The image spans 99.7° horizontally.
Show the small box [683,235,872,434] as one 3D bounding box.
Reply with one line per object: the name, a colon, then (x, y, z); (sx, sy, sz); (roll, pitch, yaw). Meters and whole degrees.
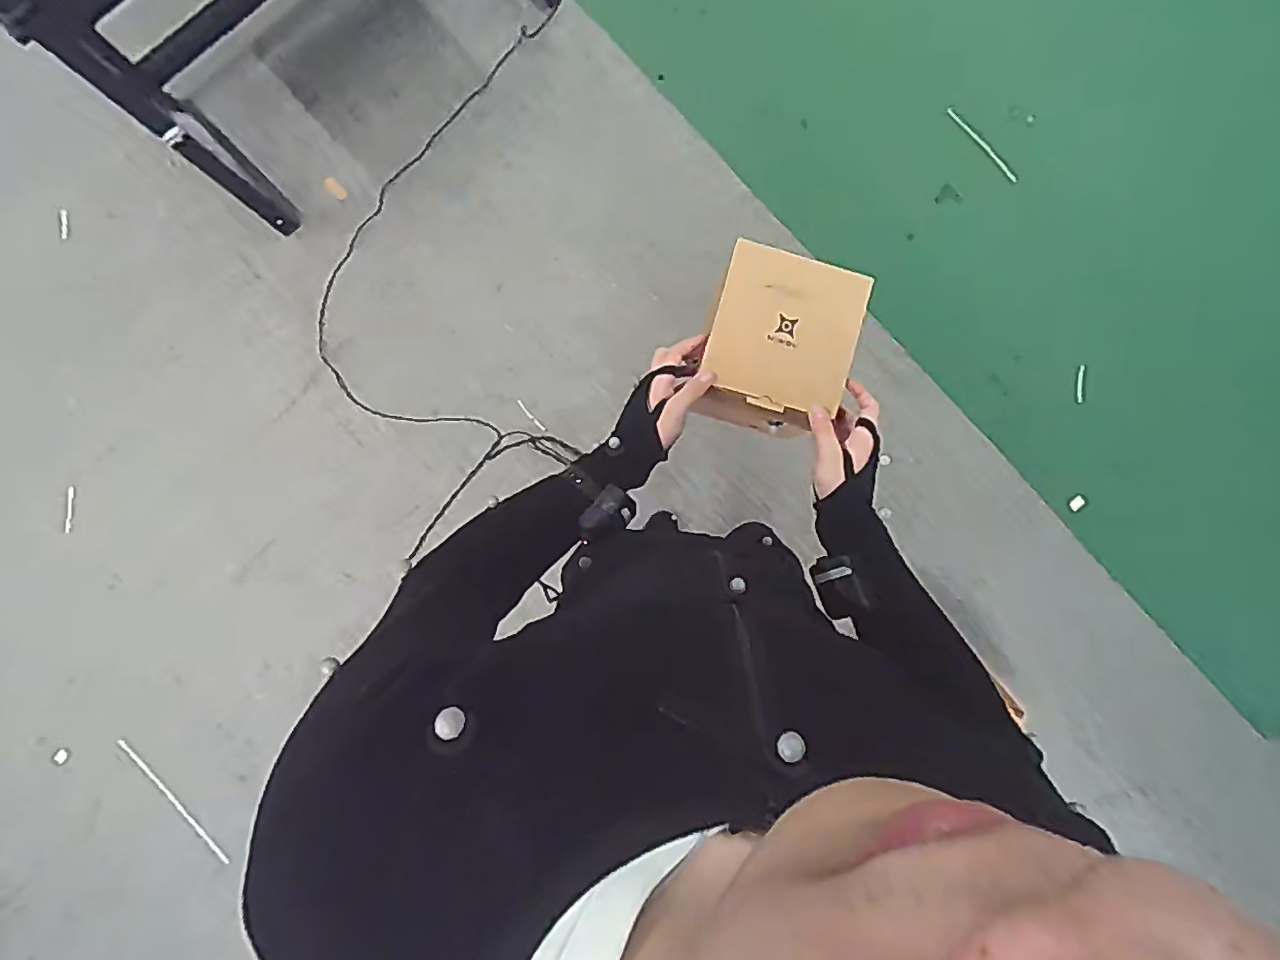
small box: (0.158, -0.166, 0.682); (0.168, 0.176, 0.179); (16, 87, -2)
